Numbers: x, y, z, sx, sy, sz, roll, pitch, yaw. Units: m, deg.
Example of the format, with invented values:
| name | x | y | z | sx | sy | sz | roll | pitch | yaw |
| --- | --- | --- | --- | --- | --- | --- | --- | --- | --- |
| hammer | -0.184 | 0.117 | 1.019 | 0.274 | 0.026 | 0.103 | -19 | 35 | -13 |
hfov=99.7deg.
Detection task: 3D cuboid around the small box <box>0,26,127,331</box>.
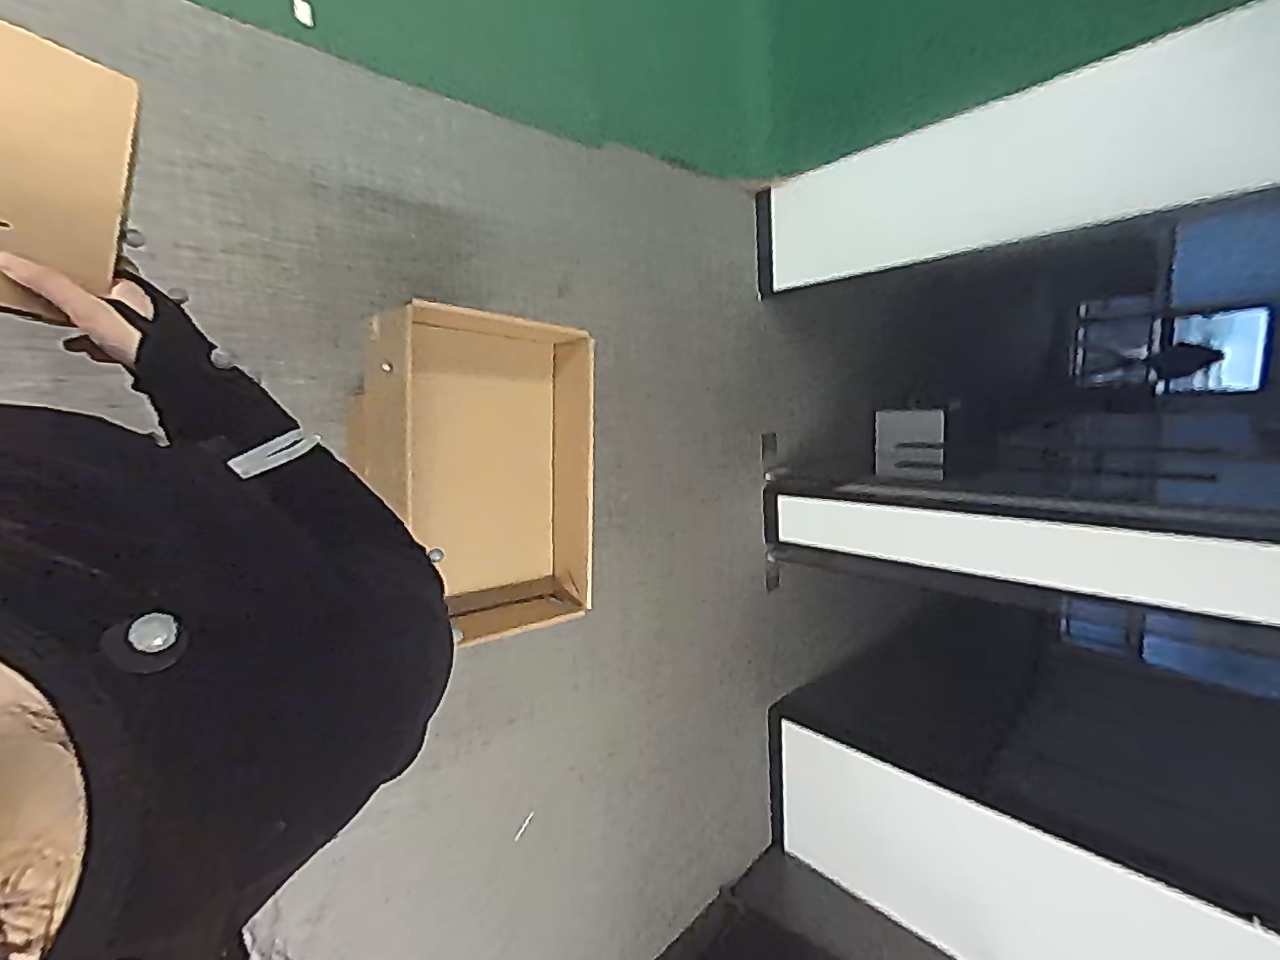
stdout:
| name | x | y | z | sx | sy | sz | roll | pitch | yaw |
| --- | --- | --- | --- | --- | --- | --- | --- | --- | --- |
| small box | -0.481 | -0.213 | 0.377 | 0.168 | 0.176 | 0.179 | 7 | 97 | -45 |
